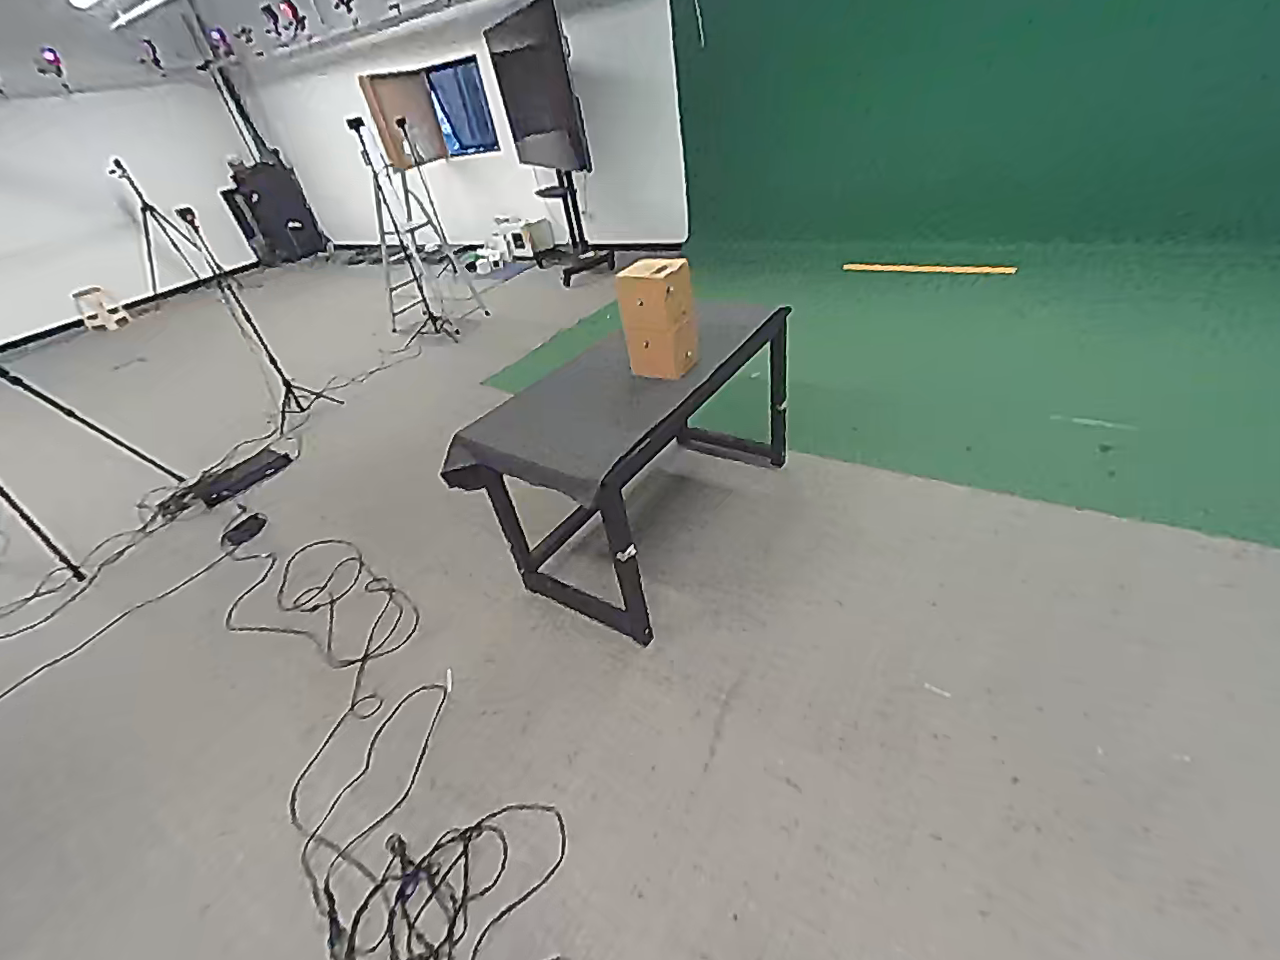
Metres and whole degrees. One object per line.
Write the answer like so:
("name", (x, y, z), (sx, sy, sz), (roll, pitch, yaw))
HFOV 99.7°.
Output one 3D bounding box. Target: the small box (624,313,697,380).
("small box", (0.072, -0.444, 1.797), (0.179, 0.176, 0.168), (12, 42, 29))
